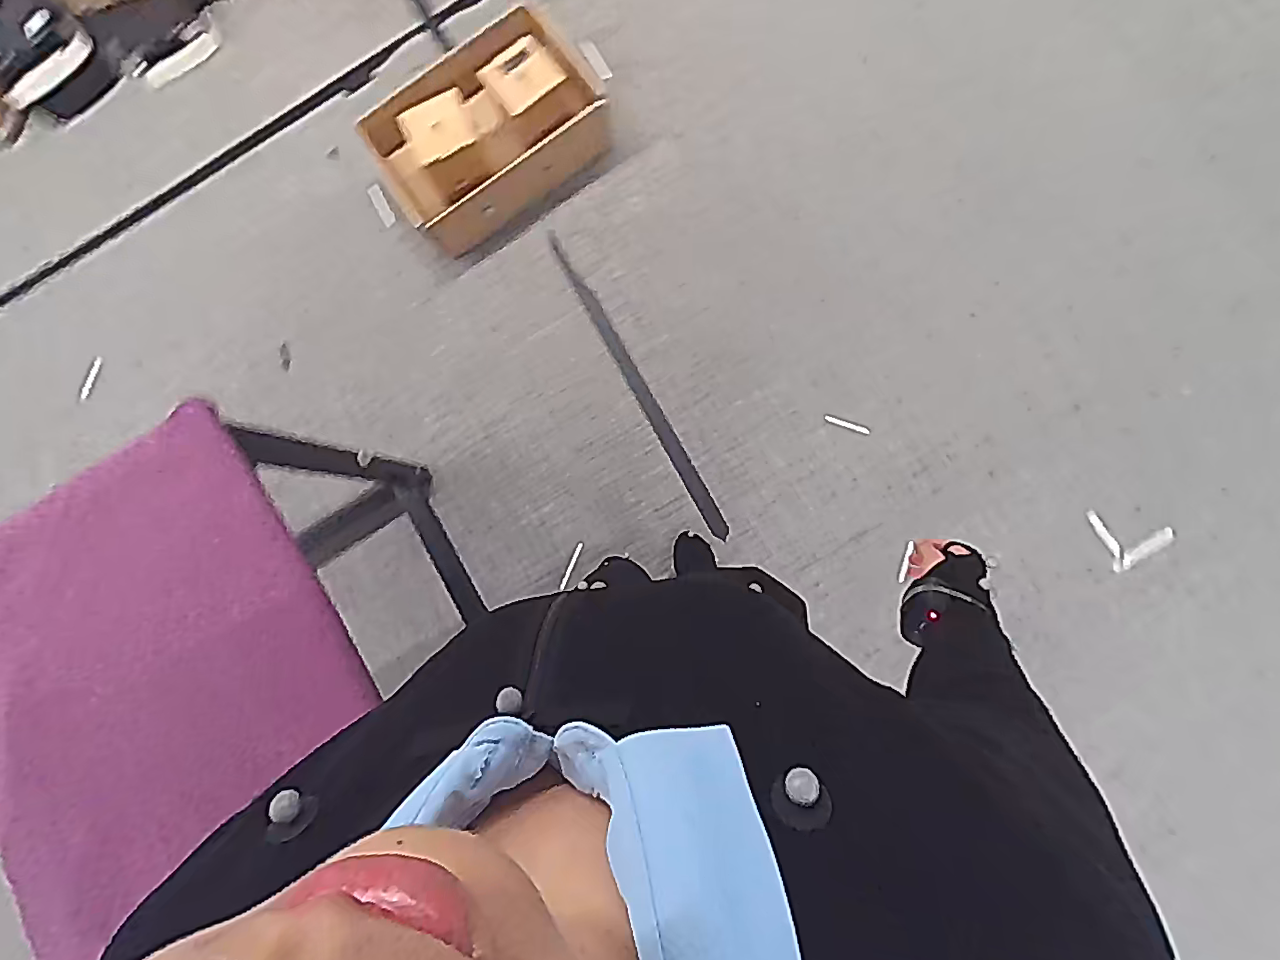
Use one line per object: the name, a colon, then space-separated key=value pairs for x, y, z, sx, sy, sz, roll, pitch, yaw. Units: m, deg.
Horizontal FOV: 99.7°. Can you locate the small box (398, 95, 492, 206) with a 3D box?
small box: x=-0.549 y=-0.928 z=1.536 sx=0.168 sy=0.176 sz=0.179 roll=-25 pitch=82 yaw=1

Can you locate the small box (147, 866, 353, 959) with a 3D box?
small box: x=-0.512 y=0.641 z=0.688 sx=0.168 sy=0.176 sz=0.179 roll=-30 pitch=82 yaw=2
